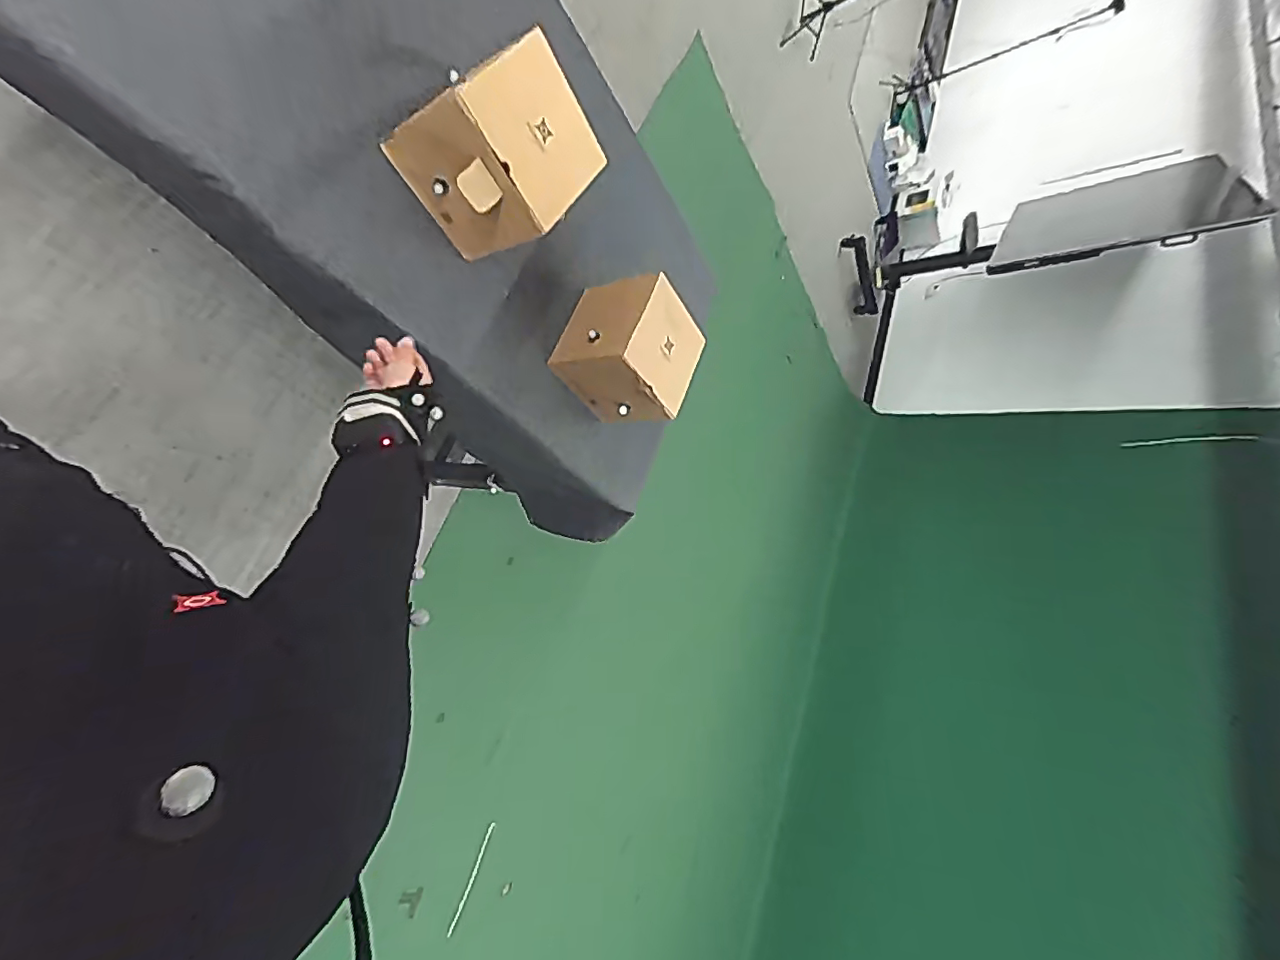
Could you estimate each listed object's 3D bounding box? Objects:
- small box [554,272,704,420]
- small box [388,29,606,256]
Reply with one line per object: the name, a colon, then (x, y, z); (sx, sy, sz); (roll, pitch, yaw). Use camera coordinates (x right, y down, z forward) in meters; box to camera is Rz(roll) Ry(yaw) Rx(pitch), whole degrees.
small box: (-0.020, -0.215, 0.914); (0.168, 0.176, 0.179); (45, 57, -45)
small box: (-0.180, -0.419, 0.692); (0.168, 0.176, 0.179); (53, 53, -40)
